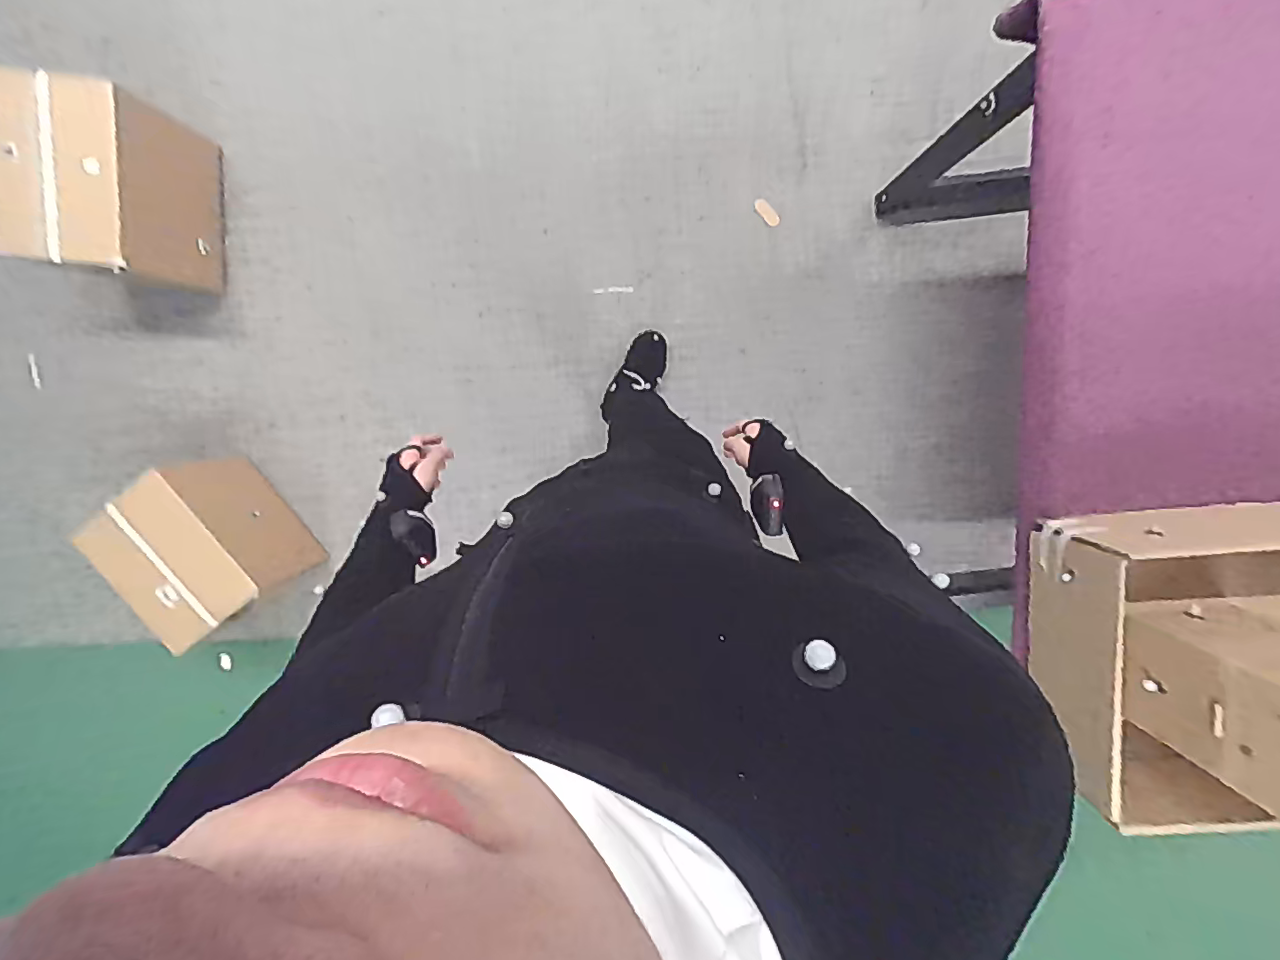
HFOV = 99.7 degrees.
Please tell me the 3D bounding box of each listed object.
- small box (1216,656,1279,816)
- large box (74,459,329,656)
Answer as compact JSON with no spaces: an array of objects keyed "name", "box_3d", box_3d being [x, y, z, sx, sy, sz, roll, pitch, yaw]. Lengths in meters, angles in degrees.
[{"name":"small box","box_3d":[0.813,0.309,0.605,0.179,0.176,0.168,-5,97,1]},{"name":"large box","box_3d":[-1.205,0.198,1.531,0.320,0.320,0.408,-36,97,7]}]
